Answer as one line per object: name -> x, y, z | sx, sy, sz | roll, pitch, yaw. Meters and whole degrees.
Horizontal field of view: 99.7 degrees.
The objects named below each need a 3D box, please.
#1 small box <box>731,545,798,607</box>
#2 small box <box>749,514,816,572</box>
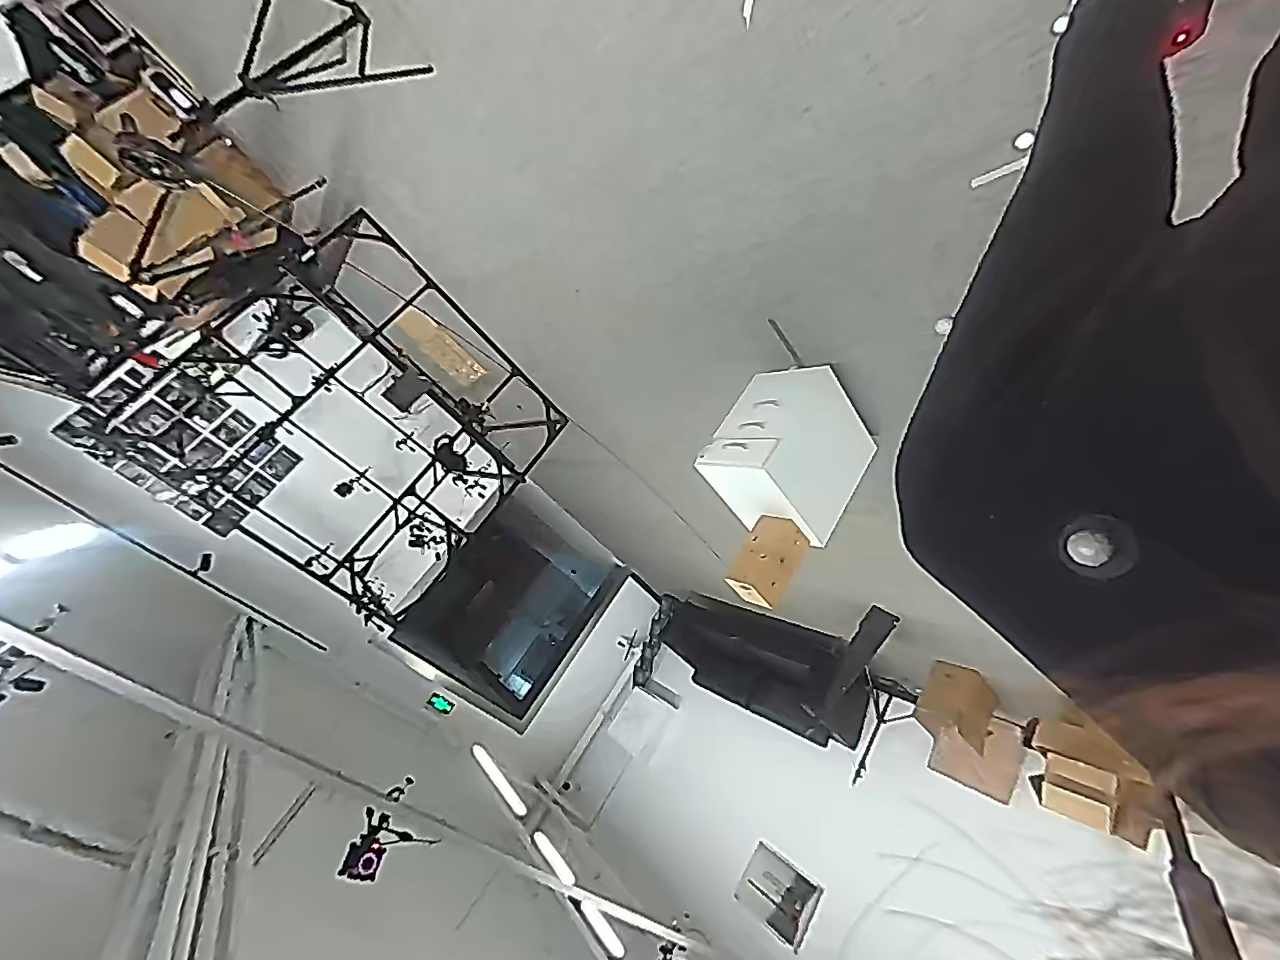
small box -> 0.512, 0.386, 2.214 | 0.179, 0.176, 0.168 | 46, 160, -28
small box -> 0.600, 0.259, 2.270 | 0.168, 0.176, 0.179 | 46, 159, -27
